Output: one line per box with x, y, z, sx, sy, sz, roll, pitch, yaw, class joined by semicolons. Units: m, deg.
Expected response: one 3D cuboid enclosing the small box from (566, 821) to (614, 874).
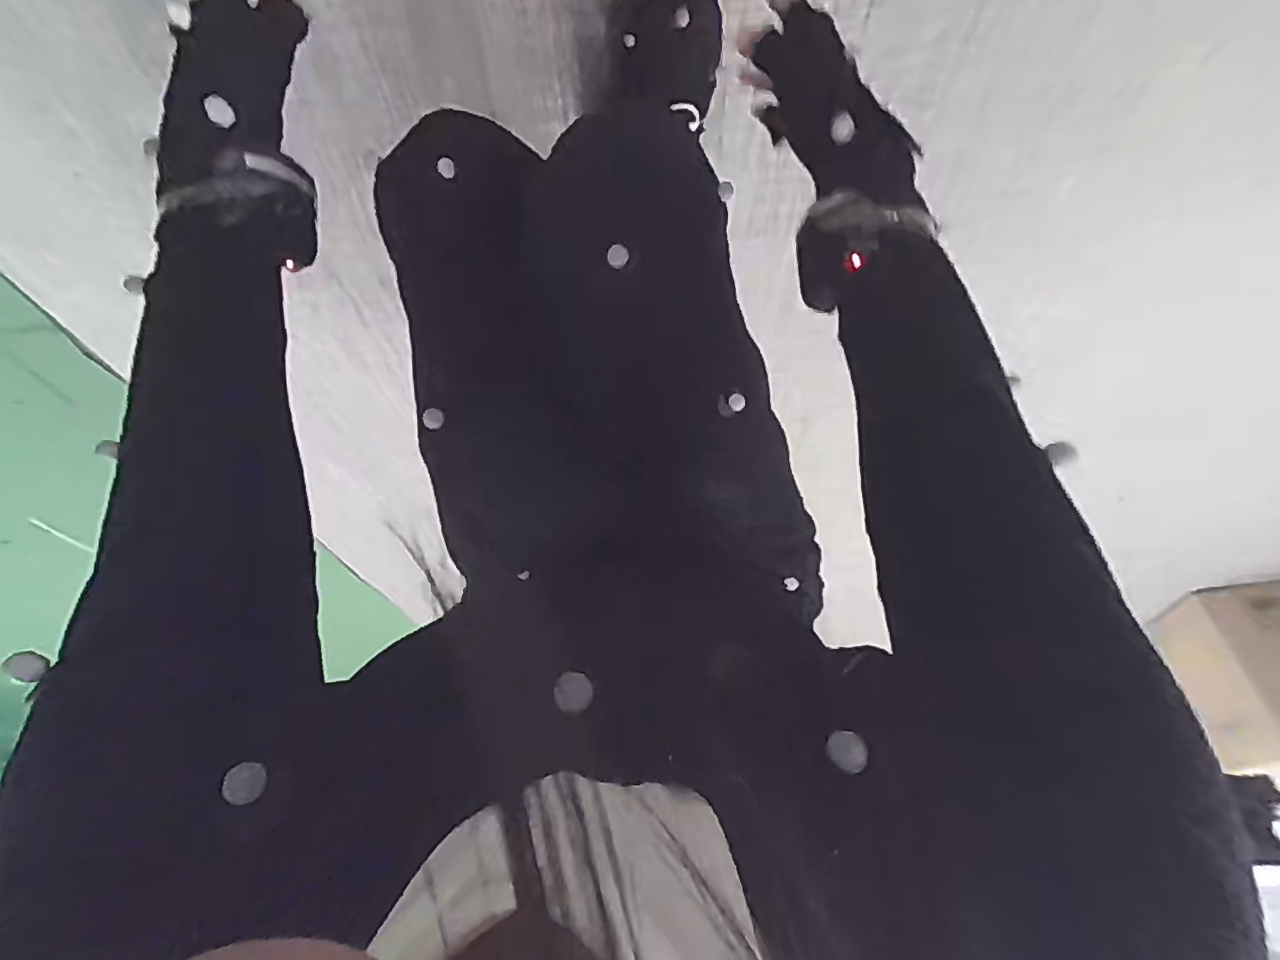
-0.203;1.518;2.236;0.179;0.176;0.168;-4;149;2;small box

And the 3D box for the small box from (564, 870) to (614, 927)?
-0.196;1.659;2.153;0.179;0.176;0.168;-3;149;3;small box
